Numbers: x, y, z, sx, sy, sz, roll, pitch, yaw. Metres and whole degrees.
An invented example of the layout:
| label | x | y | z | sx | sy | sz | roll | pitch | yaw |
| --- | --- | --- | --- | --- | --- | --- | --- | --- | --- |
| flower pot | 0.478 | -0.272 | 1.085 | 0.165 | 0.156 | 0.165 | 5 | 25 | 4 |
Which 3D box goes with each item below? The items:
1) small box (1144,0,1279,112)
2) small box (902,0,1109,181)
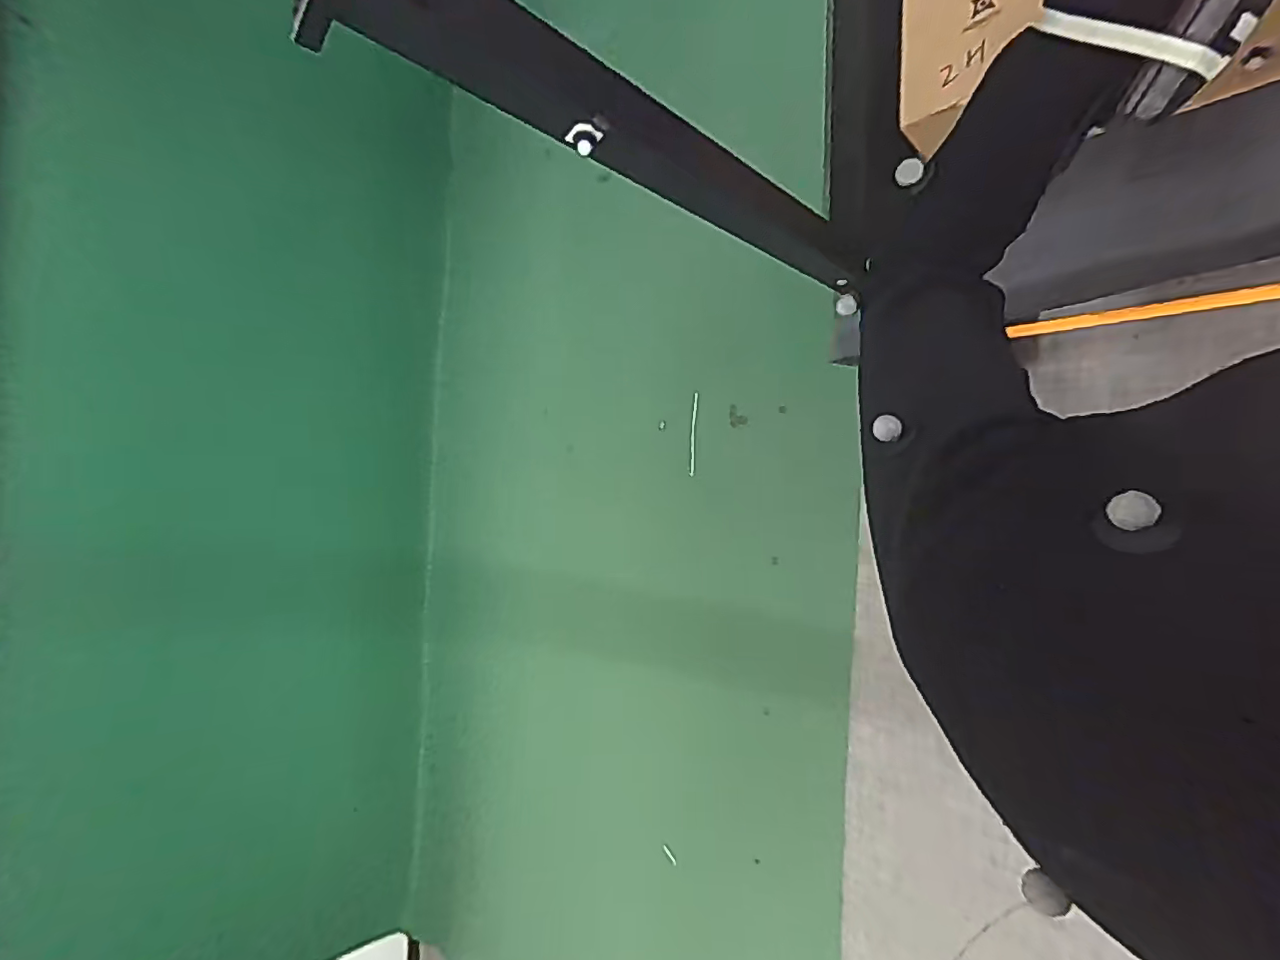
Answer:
| label | x | y | z | sx | sy | sz | roll | pitch | yaw |
| --- | --- | --- | --- | --- | --- | --- | --- | --- | --- |
| small box | 0.568 | -0.483 | 0.479 | 0.168 | 0.176 | 0.179 | 1 | 89 | 47 |
| small box | 0.426 | -0.493 | 0.630 | 0.168 | 0.176 | 0.179 | 1 | 89 | 47 |
